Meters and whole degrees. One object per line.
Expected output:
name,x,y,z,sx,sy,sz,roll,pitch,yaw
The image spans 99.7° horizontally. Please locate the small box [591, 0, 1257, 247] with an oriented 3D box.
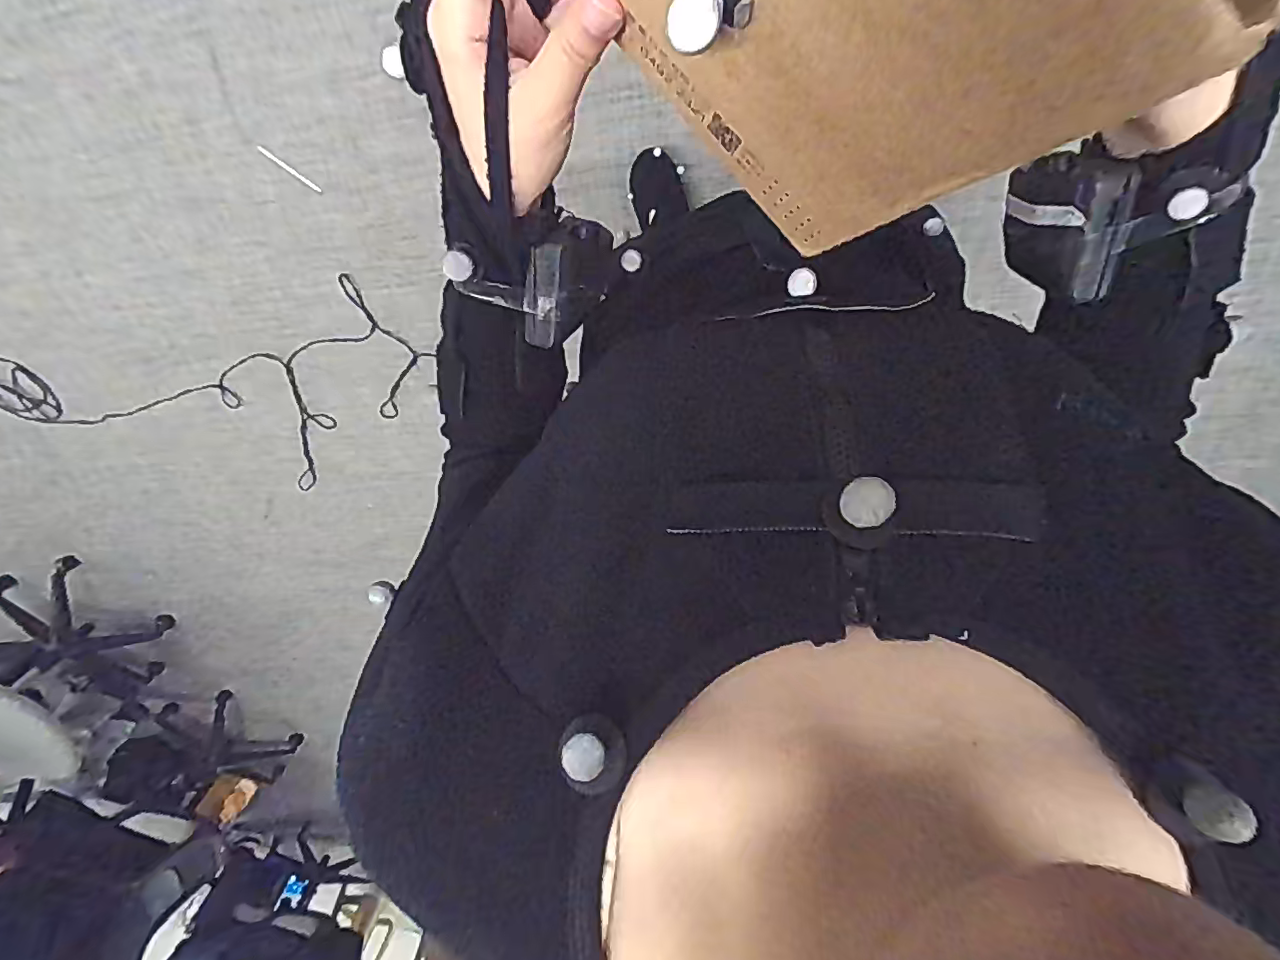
small box,0.083,-0.195,0.148,0.168,0.176,0.179,42,97,-12
